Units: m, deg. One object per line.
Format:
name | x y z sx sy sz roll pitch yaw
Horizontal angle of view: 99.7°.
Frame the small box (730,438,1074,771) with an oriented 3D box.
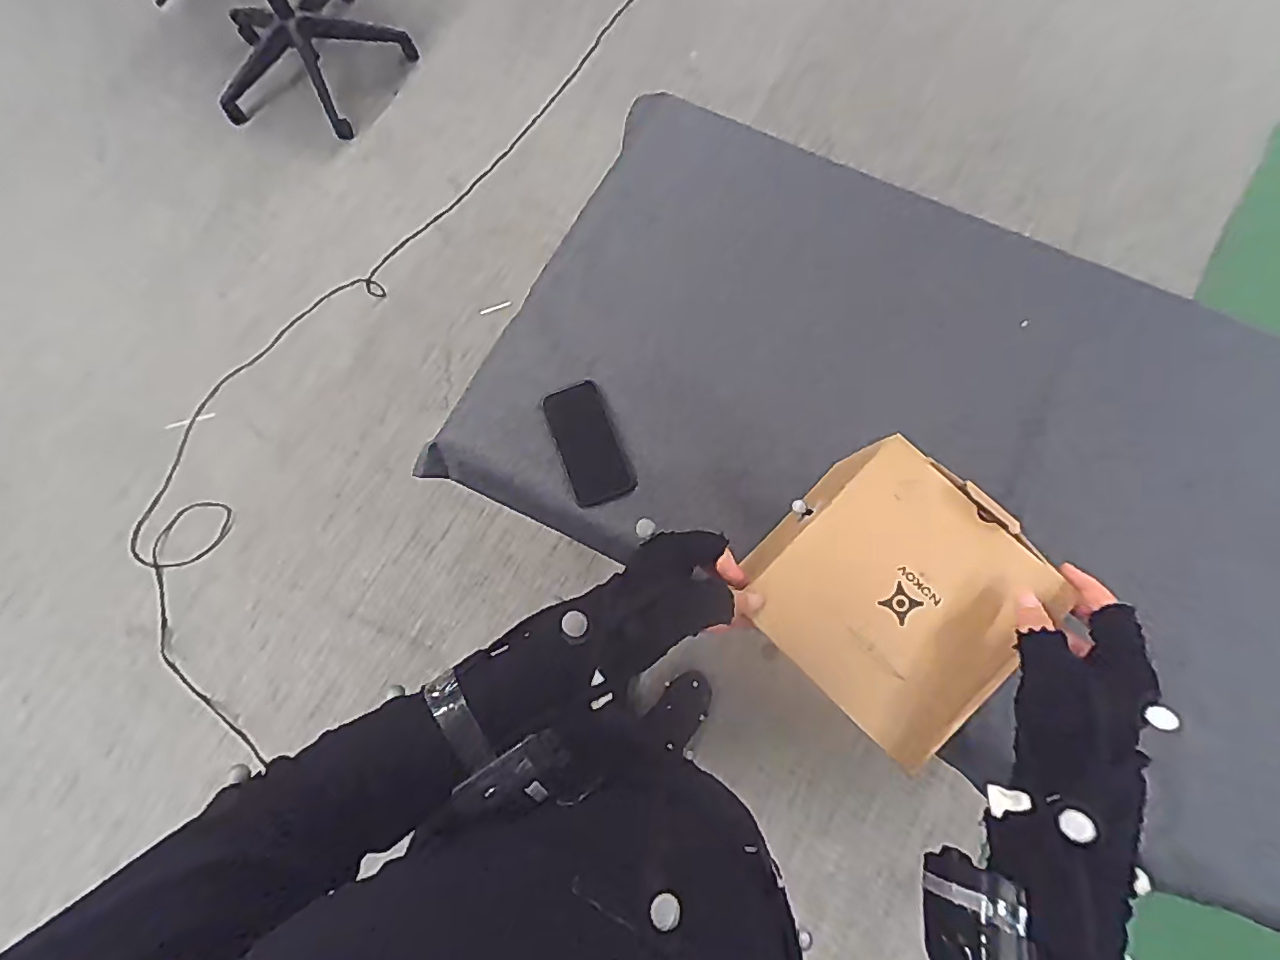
small box | 0.191 0.092 0.460 0.168 0.176 0.179 44 90 9
